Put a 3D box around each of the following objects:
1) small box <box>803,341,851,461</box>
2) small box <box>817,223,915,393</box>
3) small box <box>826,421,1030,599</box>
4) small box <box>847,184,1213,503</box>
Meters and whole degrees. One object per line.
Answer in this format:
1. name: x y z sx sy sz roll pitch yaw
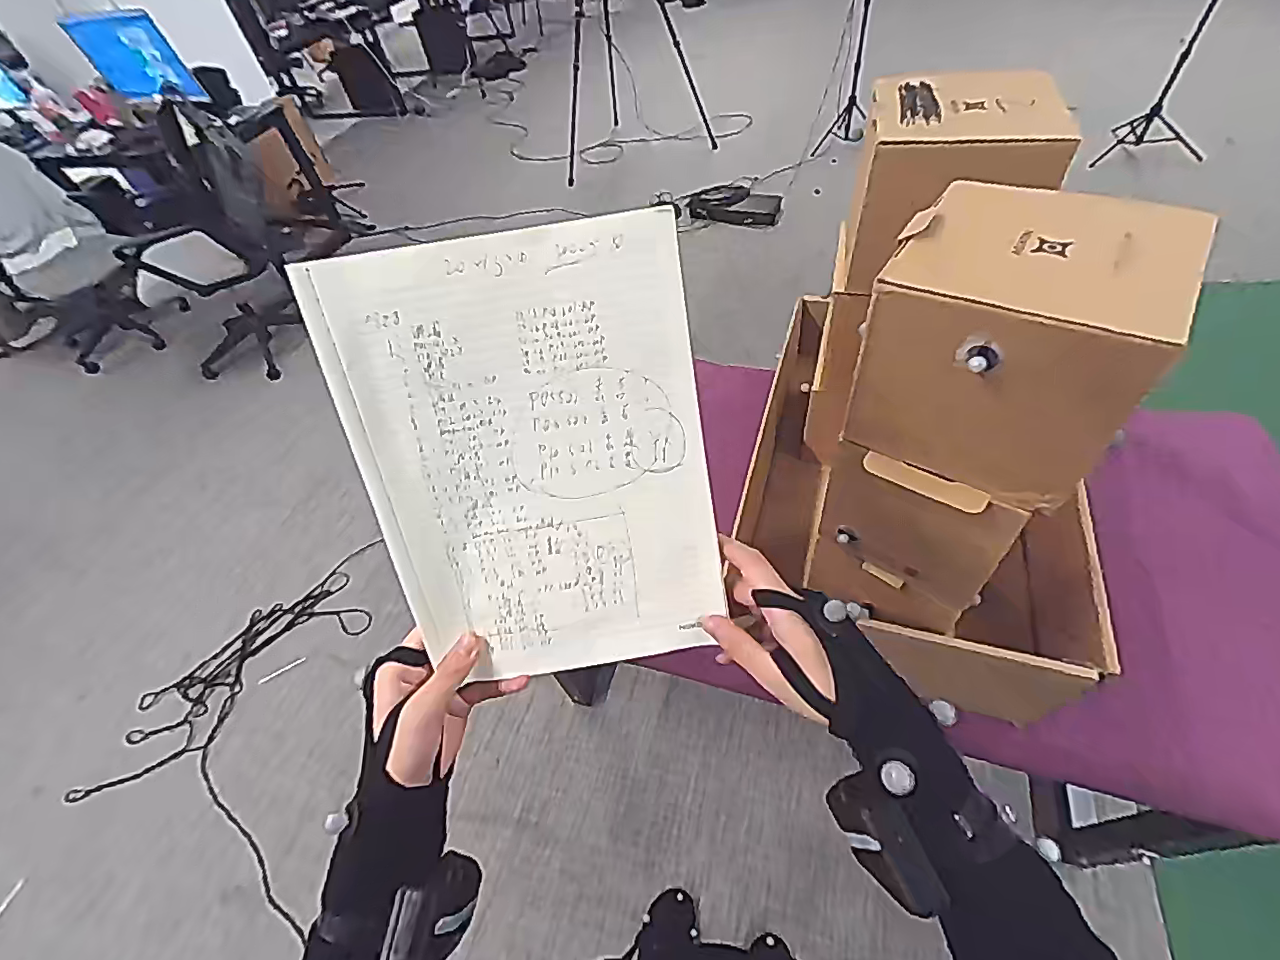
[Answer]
1. small box: 0.363 -0.133 0.870 0.168 0.176 0.179 11 56 17
2. small box: 0.346 -0.227 0.740 0.179 0.176 0.168 9 55 15
3. small box: 0.310 -0.010 0.563 0.168 0.176 0.179 29 60 30
4. small box: 0.289 -0.109 0.436 0.179 0.176 0.168 27 60 28
